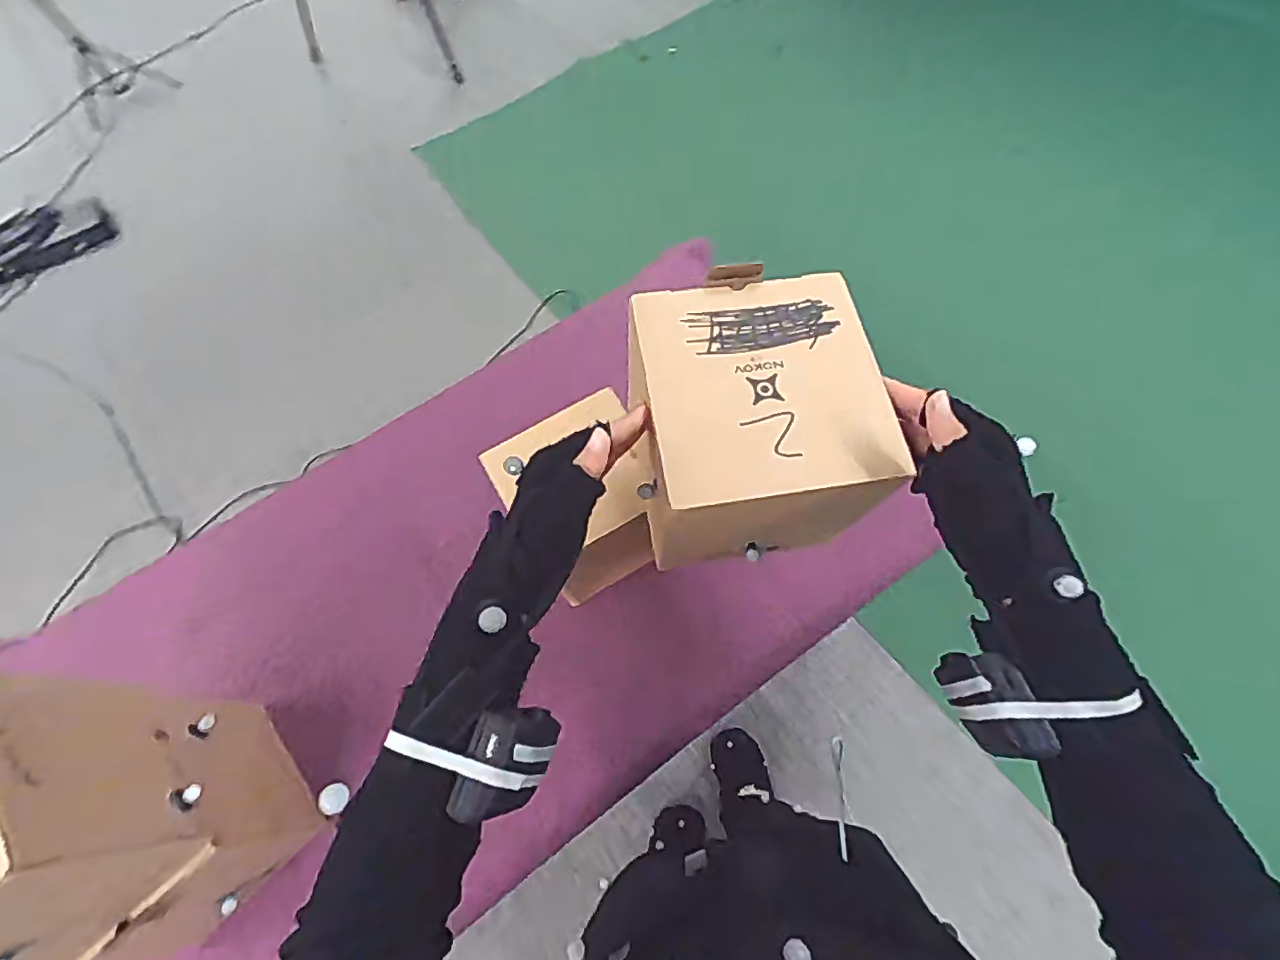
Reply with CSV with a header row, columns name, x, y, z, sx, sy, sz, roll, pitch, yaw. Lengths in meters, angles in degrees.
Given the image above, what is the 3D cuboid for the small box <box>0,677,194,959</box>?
name,x,y,z,sx,sy,sz,roll,pitch,yaw
small box,-0.488,0.269,0.405,0.179,0.176,0.168,-40,66,-14

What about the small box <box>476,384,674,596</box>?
name,x,y,z,sx,sy,sz,roll,pitch,yaw
small box,-0.069,0.021,0.674,0.179,0.176,0.168,-30,66,-9

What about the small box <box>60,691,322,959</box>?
name,x,y,z,sx,sy,sz,roll,pitch,yaw
small box,-0.478,0.347,0.553,0.168,0.176,0.179,-42,68,-14
